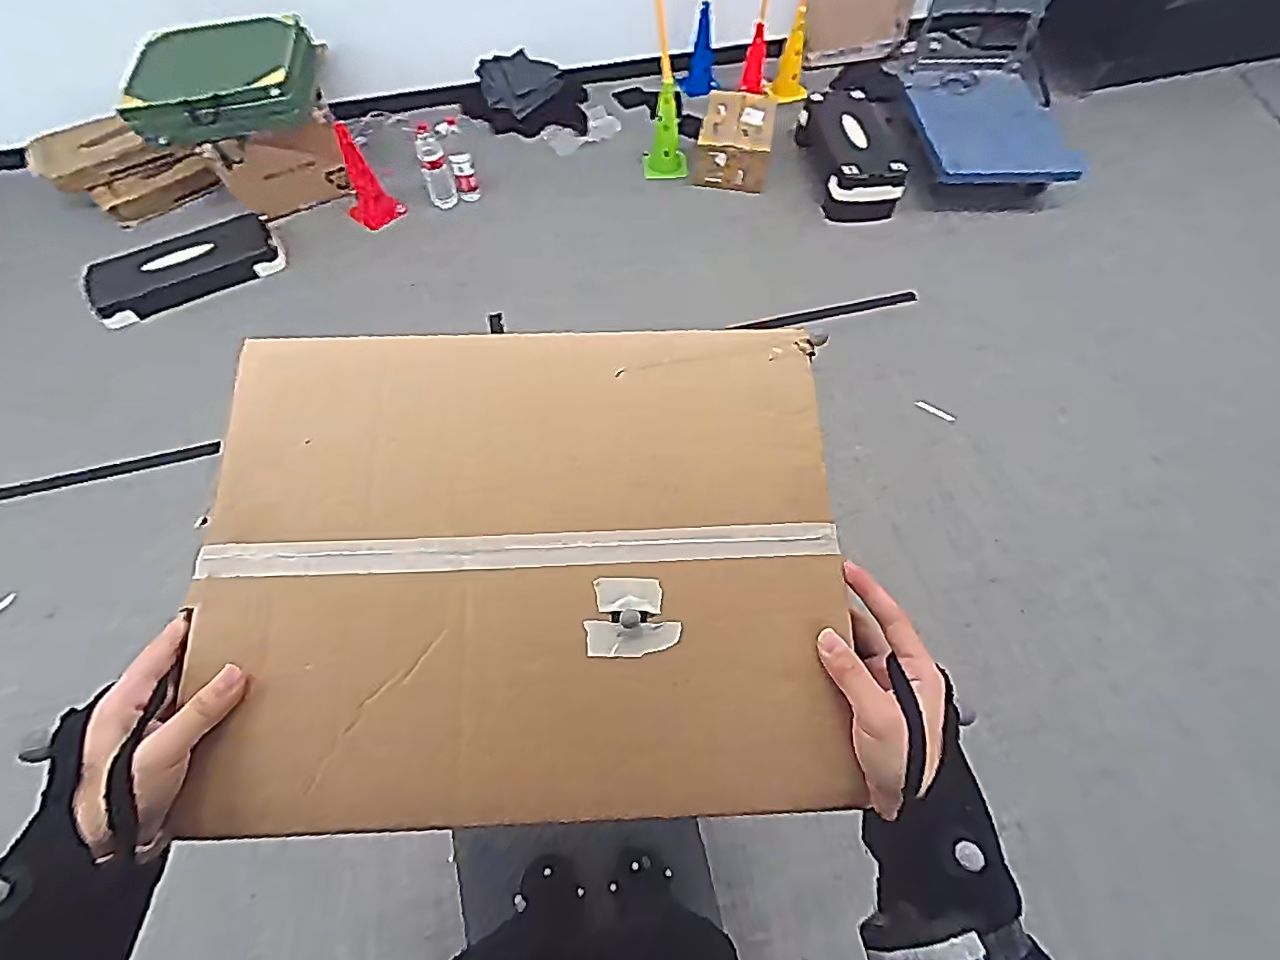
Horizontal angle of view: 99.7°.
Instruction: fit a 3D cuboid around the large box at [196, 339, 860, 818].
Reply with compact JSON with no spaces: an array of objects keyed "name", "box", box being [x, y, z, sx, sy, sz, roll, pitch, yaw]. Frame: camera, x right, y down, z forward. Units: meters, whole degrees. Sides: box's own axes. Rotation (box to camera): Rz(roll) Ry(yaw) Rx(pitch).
[{"name":"large box","box":[-0.073,0.086,0.505,0.408,0.320,0.320,-1,75,-2]}]
